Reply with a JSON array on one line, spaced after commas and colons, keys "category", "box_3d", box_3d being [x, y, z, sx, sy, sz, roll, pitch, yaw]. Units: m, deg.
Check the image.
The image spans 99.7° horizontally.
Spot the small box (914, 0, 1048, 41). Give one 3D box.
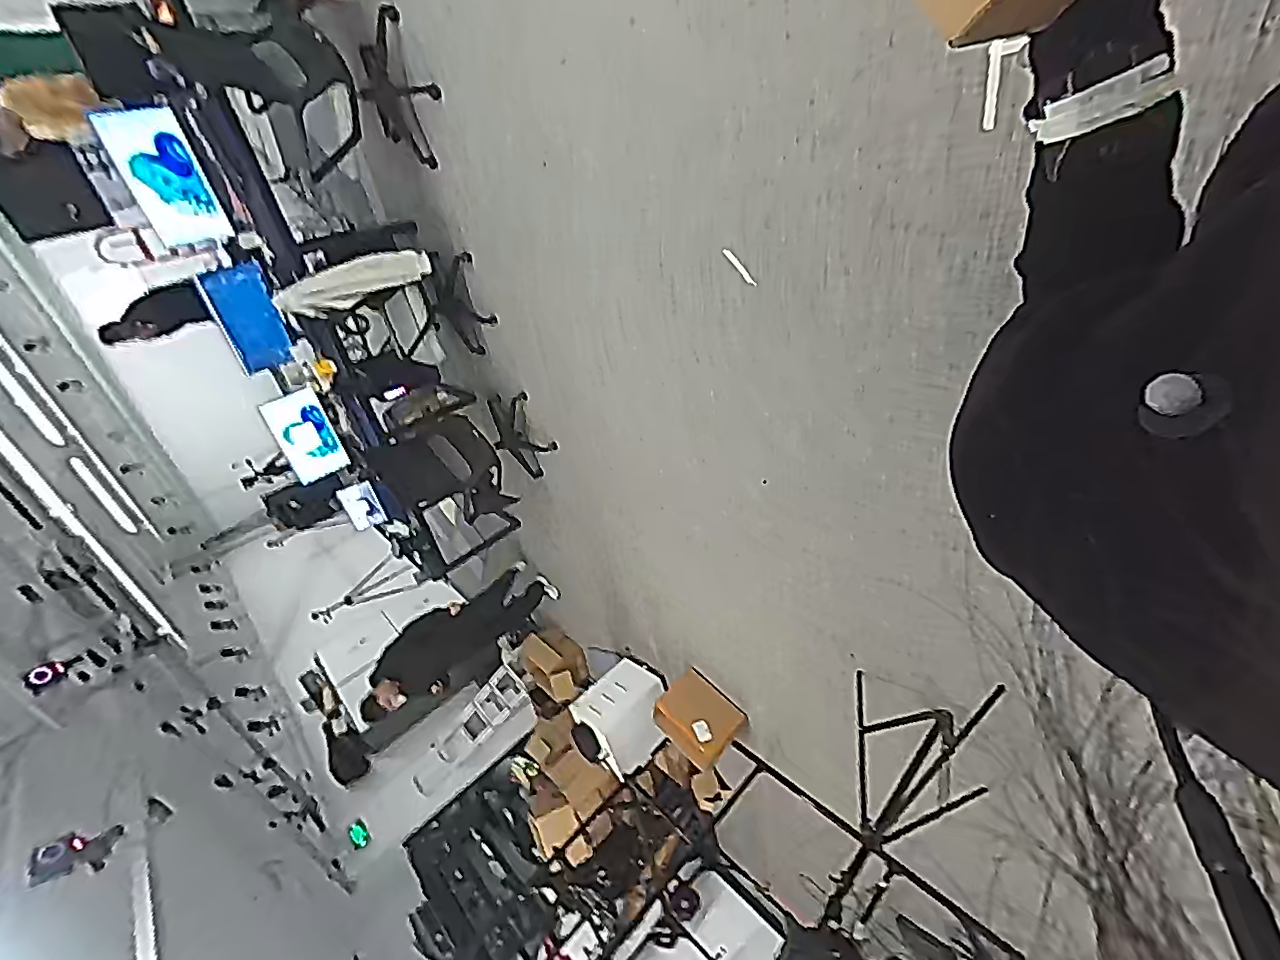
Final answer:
[{"category": "small box", "box_3d": [0.168, -0.324, 0.210, 0.179, 0.176, 0.168, 52, 146, 0]}]
